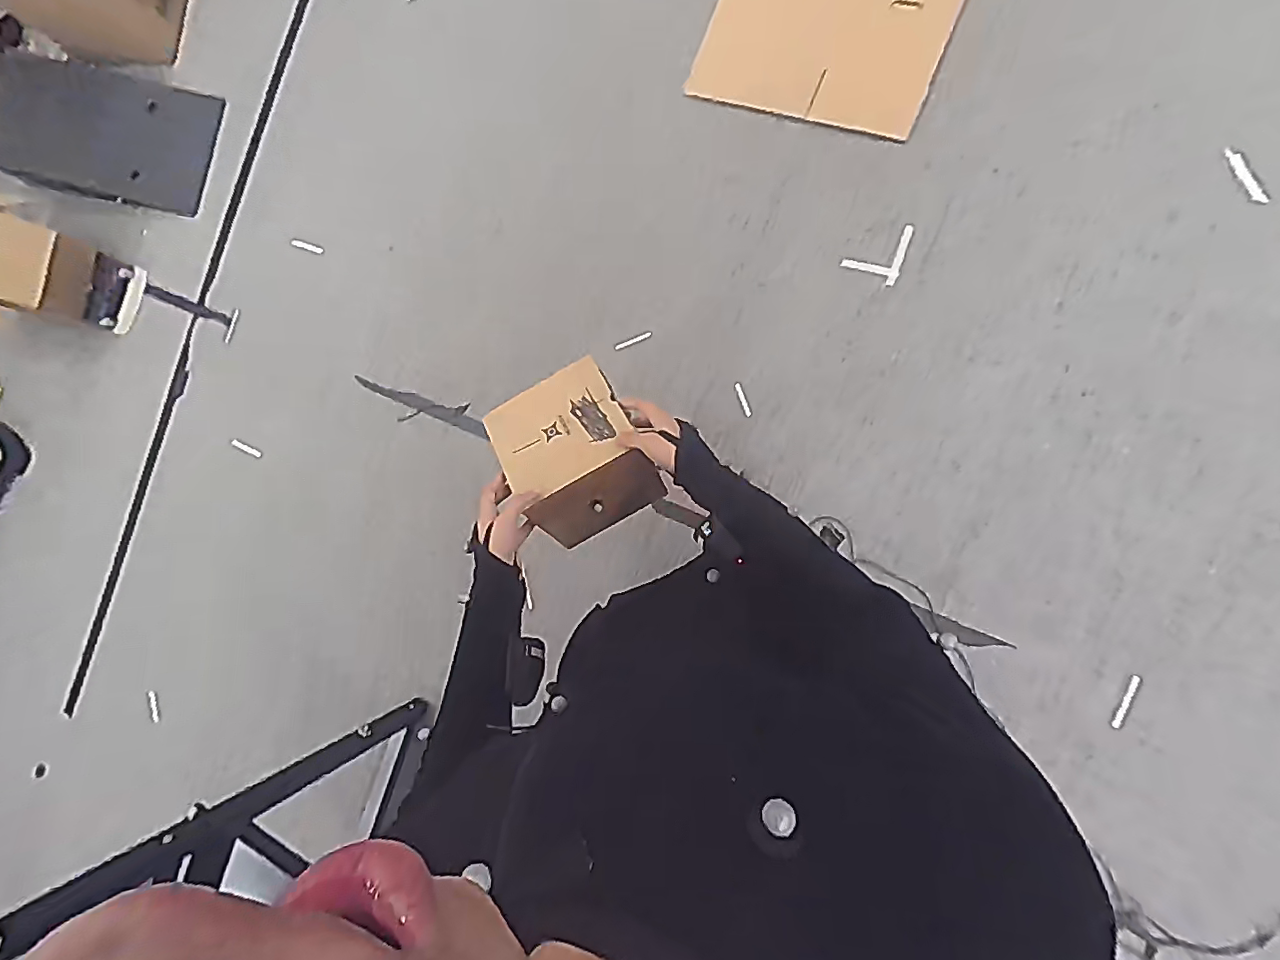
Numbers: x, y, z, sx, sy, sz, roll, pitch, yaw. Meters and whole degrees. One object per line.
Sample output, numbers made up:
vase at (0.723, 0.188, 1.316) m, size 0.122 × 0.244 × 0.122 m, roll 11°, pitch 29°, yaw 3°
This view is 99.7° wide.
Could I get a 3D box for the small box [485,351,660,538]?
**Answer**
small box at (-0.084, -0.042, 0.768) m, size 0.179 × 0.176 × 0.168 m, roll -29°, pitch 63°, yaw 2°
